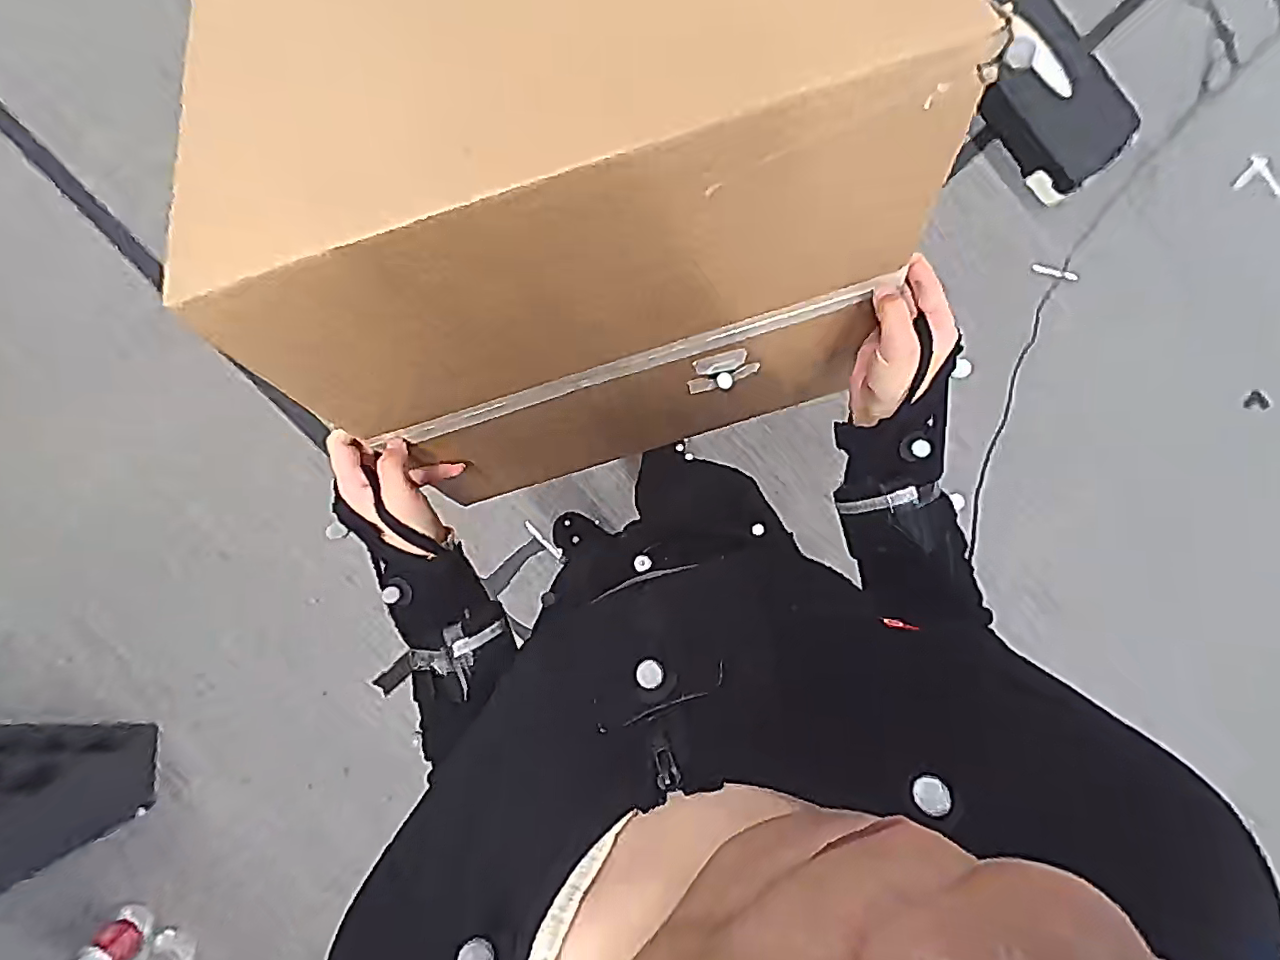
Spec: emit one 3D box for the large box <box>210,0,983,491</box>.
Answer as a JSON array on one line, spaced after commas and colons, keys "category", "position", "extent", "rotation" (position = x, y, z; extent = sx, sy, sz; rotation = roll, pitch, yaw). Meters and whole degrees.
[{"category": "large box", "position": [-0.045, -0.232, 0.452], "extent": [0.408, 0.320, 0.320], "rotation": [-17, 69, 3]}]
